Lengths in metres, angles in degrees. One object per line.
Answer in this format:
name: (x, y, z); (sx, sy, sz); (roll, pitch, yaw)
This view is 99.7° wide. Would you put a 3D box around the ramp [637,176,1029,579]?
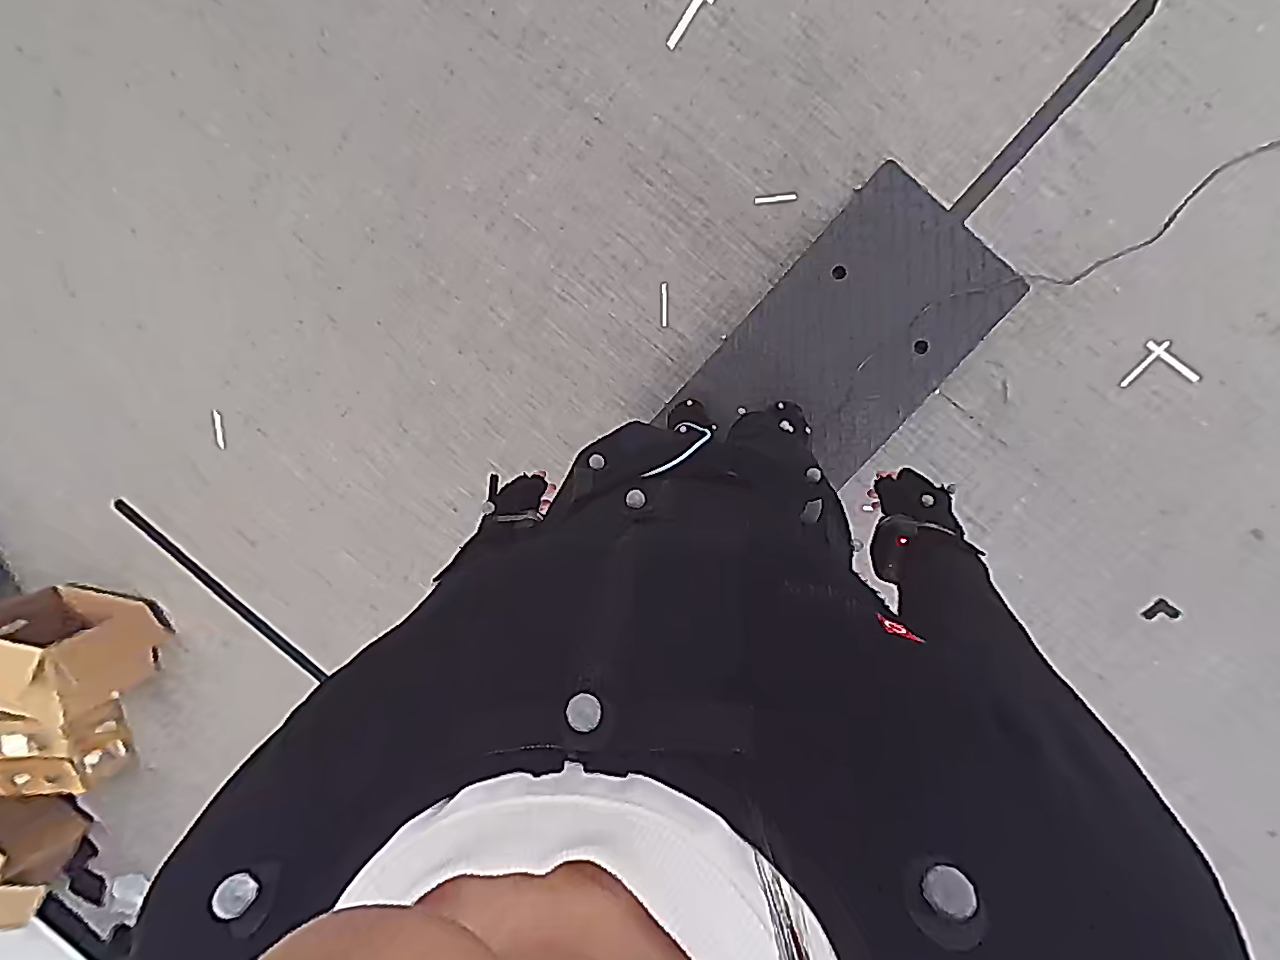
ramp: (0.491, -0.266, 1.420); (0.509, 0.206, 0.991); (40, 103, 3)
